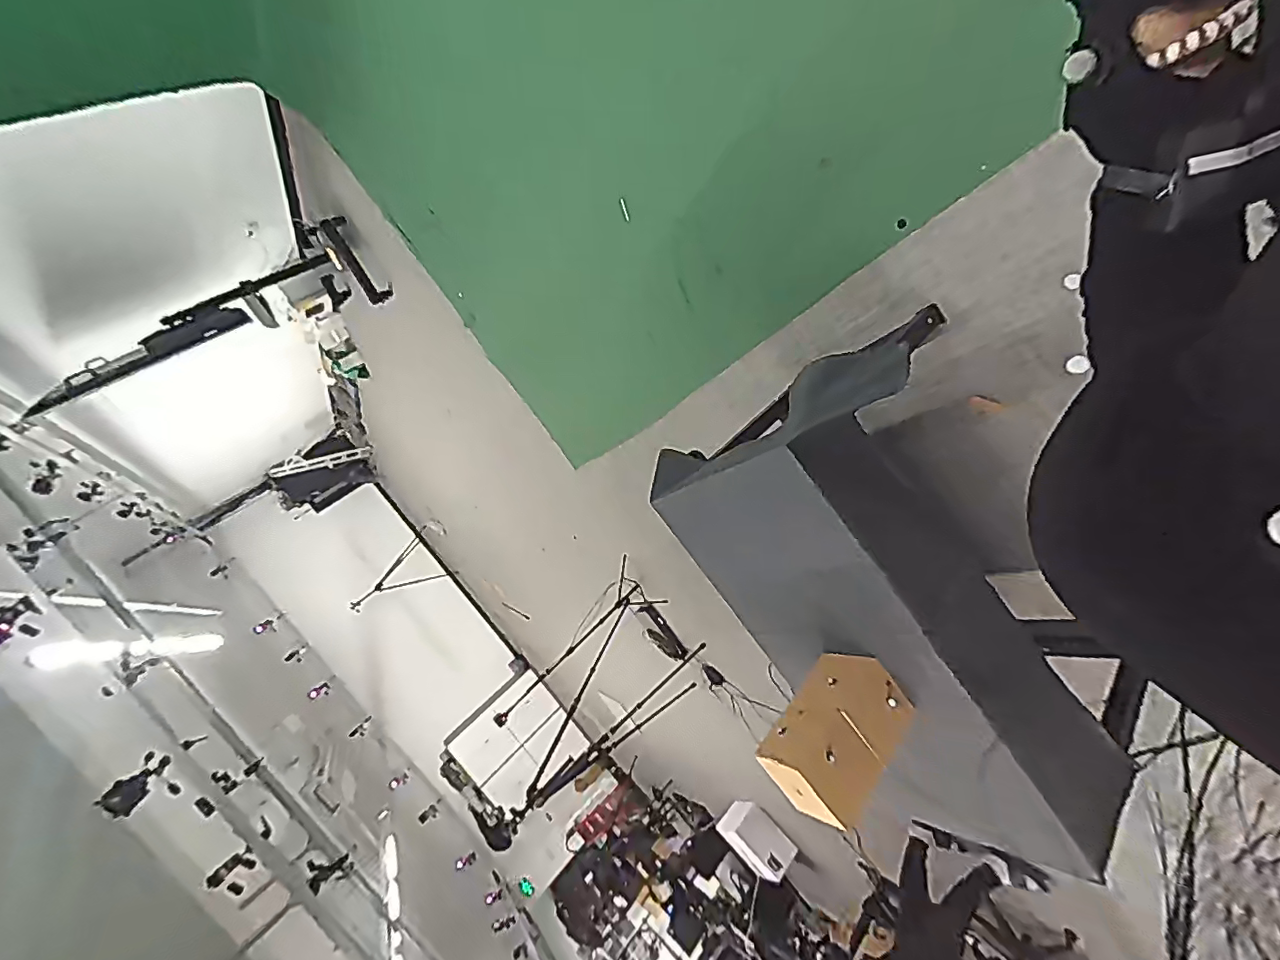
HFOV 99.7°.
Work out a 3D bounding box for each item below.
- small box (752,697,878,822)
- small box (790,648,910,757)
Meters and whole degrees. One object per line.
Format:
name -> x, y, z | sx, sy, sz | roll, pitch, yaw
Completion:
small box -> 0.399, 0.622, 1.231 | 0.179, 0.176, 0.168 | 52, 152, -4
small box -> 0.508, 0.526, 1.306 | 0.168, 0.176, 0.179 | 53, 151, -6
